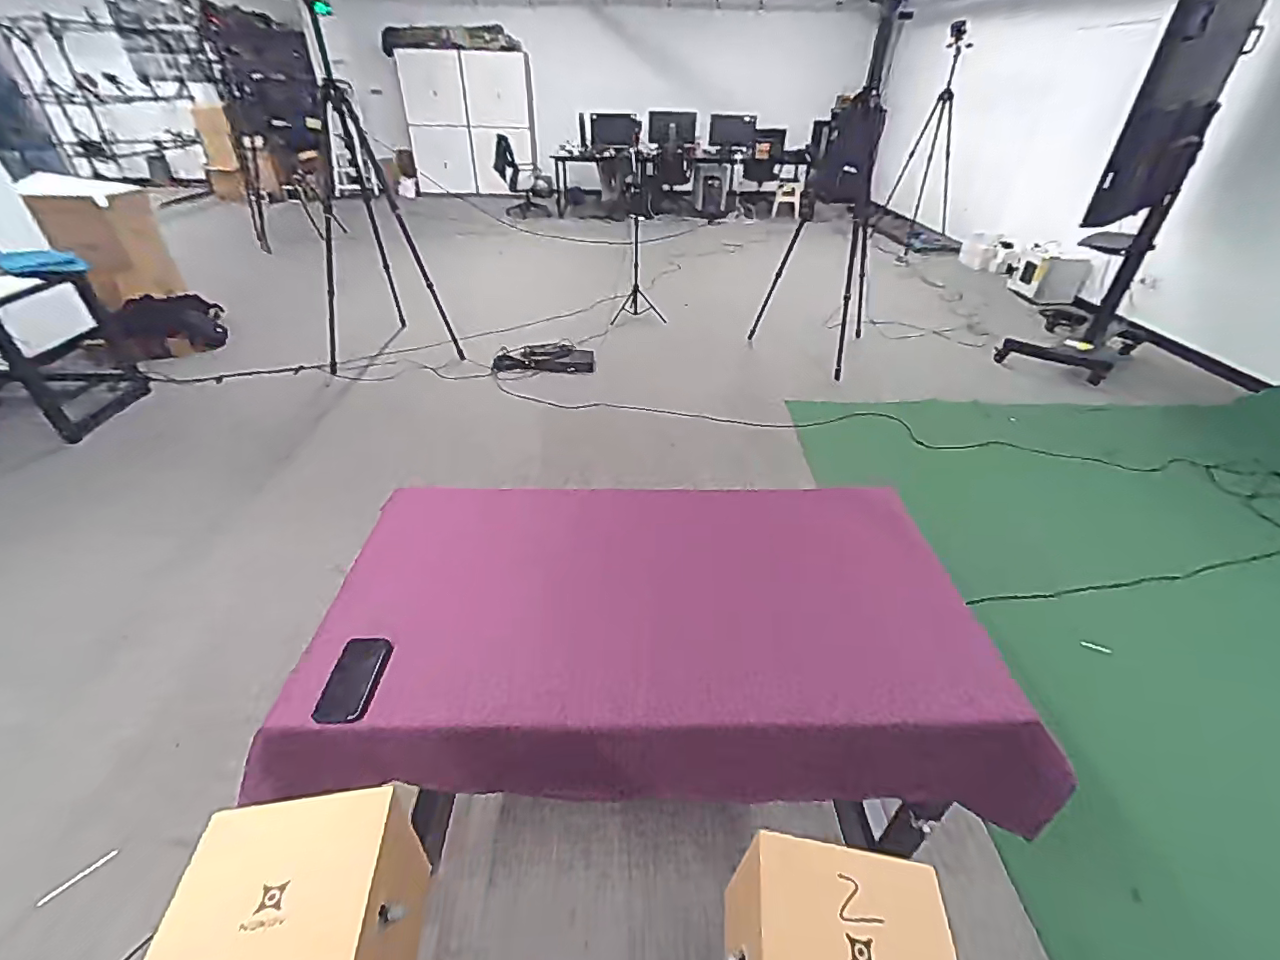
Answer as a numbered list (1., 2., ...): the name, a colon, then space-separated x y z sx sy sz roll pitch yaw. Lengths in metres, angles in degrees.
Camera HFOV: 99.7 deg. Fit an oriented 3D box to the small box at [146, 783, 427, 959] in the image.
1. small box: -0.304 0.417 0.495 0.168 0.176 0.179 -5 34 -8
